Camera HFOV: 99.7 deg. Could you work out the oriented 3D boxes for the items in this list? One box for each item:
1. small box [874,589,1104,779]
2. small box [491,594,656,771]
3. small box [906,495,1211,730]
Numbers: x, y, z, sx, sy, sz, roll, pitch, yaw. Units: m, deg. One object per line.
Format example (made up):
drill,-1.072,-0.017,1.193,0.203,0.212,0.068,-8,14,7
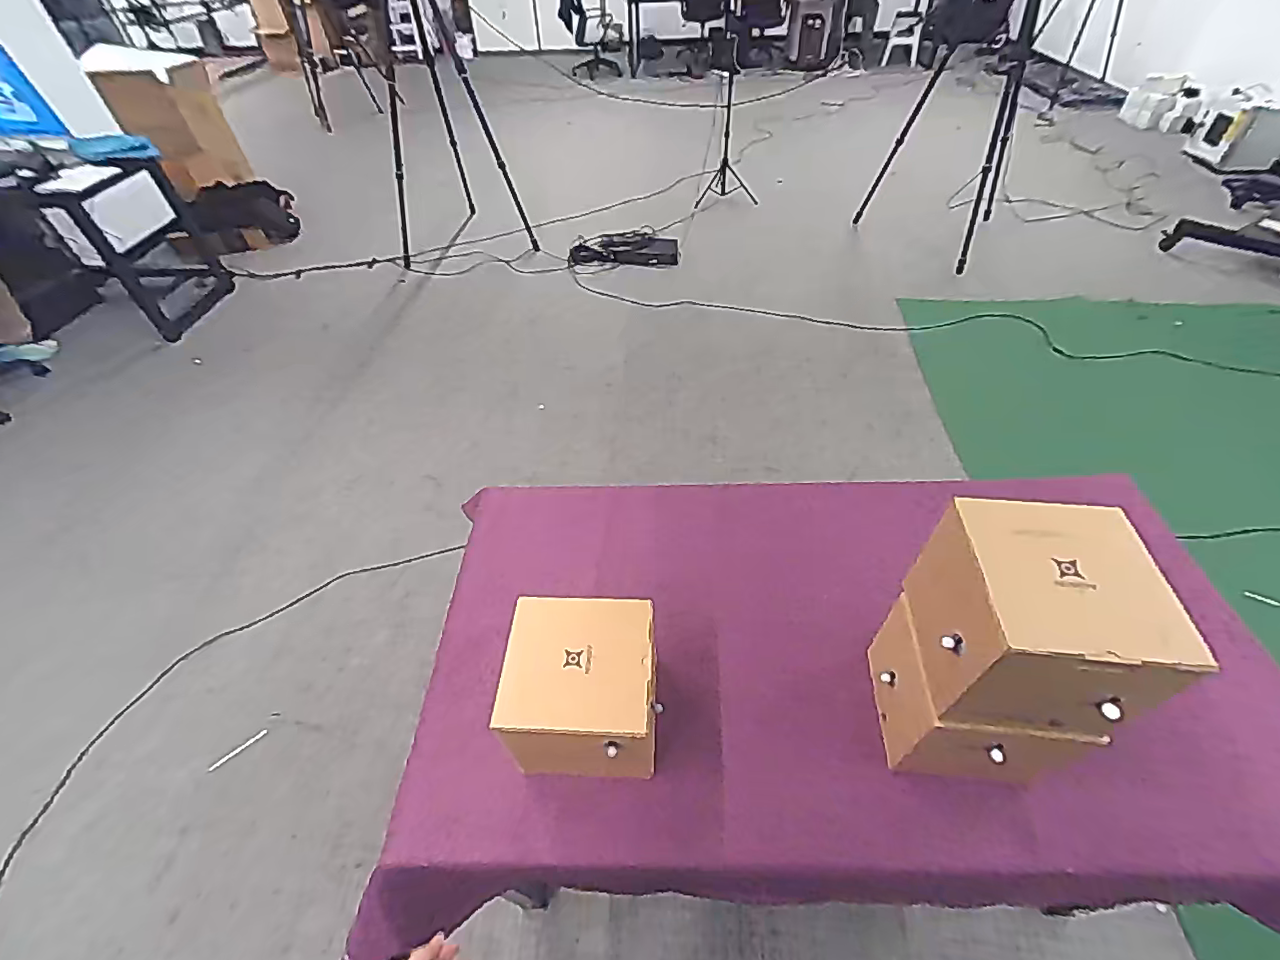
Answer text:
small box,0.406,0.256,0.675,0.179,0.176,0.168,3,48,7
small box,-0.071,0.265,0.702,0.179,0.176,0.168,1,47,3
small box,0.399,0.139,0.561,0.168,0.176,0.179,4,47,7
